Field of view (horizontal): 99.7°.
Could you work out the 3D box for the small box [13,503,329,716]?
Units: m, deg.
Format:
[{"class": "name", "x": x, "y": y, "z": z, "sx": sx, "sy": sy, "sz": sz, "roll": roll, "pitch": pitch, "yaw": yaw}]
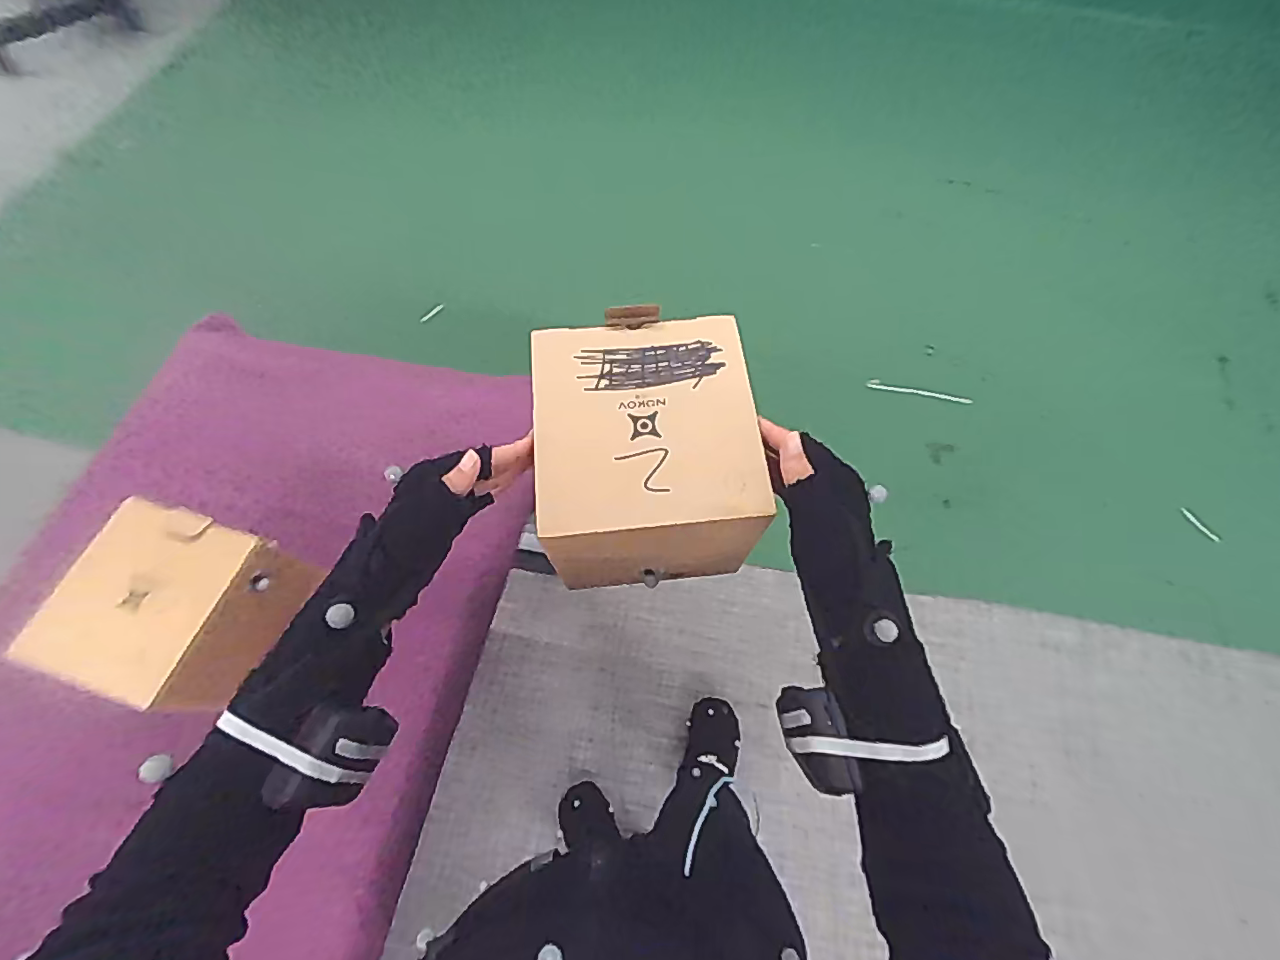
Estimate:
[{"class": "small box", "x": -0.497, "y": 0.154, "z": 0.611, "sx": 0.168, "sy": 0.176, "sz": 0.179, "roll": 15, "pitch": 65, "yaw": 8}]
